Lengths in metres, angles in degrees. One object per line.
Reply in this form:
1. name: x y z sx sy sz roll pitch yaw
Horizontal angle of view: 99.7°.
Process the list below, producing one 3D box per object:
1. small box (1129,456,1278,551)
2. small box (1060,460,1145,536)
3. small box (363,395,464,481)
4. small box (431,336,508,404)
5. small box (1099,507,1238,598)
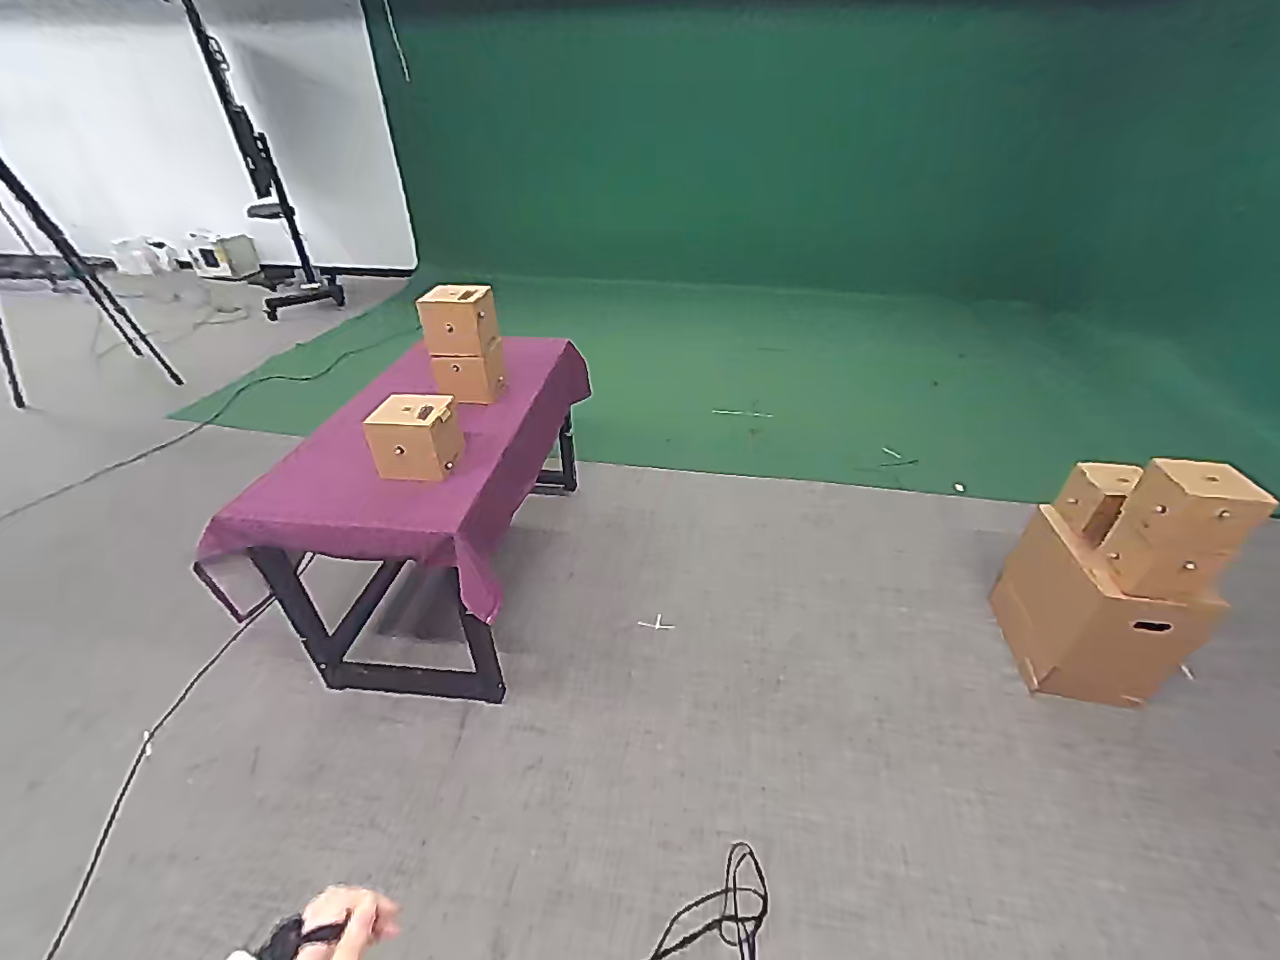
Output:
1. small box: 1.375 0.060 1.343 0.179 0.176 0.168 6 36 9
2. small box: 1.409 0.058 1.623 0.179 0.176 0.168 4 38 9
3. small box: -0.585 -0.110 1.426 0.179 0.176 0.168 2 35 5
4. small box: -0.553 -0.362 1.777 0.179 0.176 0.168 4 36 7
5. small box: 1.387 0.193 1.436 0.179 0.176 0.168 5 35 8
